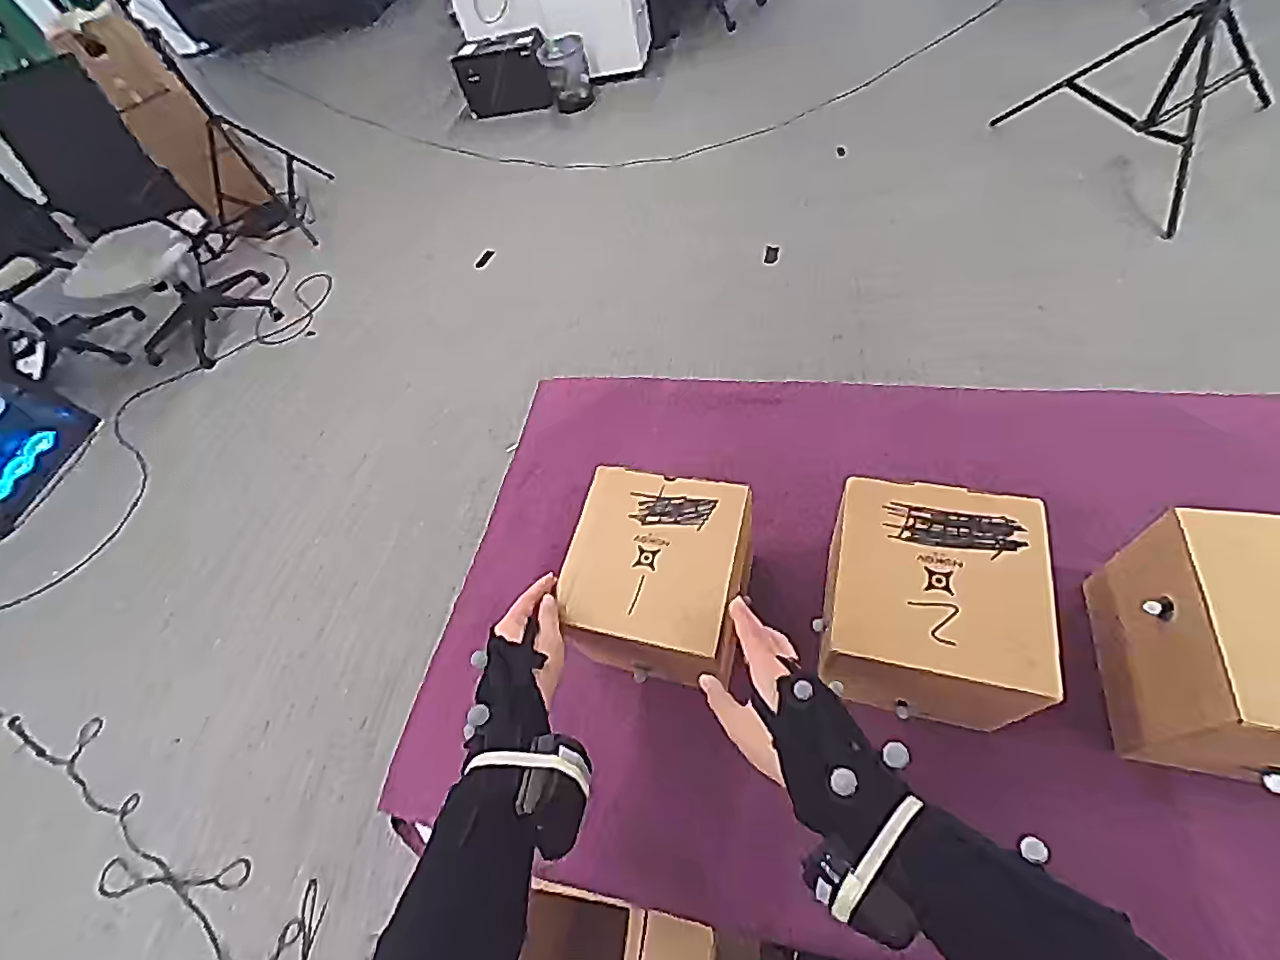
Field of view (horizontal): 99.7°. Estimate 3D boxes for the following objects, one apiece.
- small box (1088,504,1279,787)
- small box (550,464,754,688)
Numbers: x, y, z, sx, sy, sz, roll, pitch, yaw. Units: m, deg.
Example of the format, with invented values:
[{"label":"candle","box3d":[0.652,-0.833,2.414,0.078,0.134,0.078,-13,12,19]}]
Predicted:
[{"label":"small box","box3d":[0.521,0.144,0.456,0.168,0.176,0.179,5,58,17]},{"label":"small box","box3d":[0.028,0.108,0.593,0.168,0.176,0.179,8,62,18]}]
